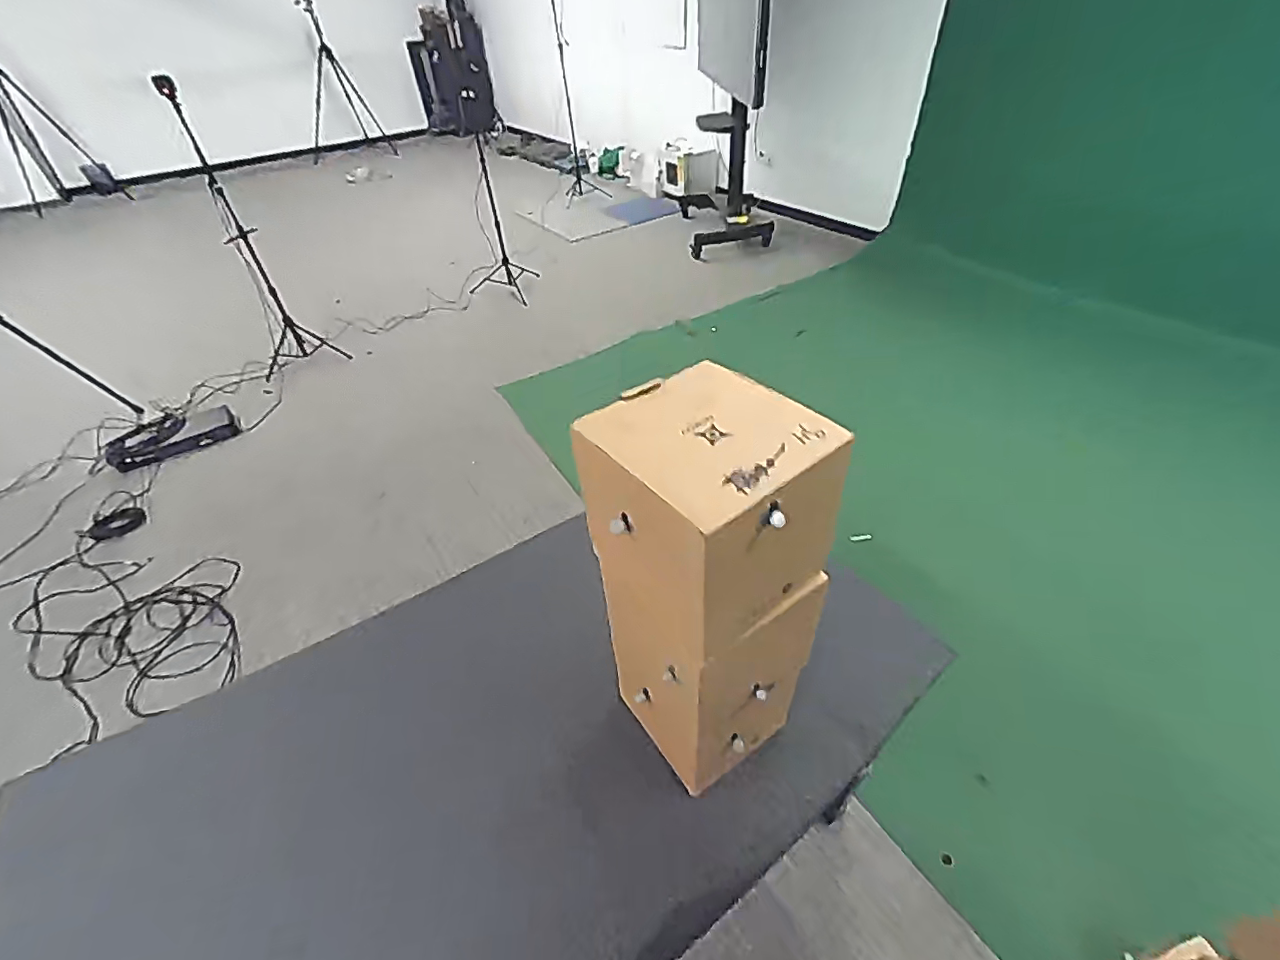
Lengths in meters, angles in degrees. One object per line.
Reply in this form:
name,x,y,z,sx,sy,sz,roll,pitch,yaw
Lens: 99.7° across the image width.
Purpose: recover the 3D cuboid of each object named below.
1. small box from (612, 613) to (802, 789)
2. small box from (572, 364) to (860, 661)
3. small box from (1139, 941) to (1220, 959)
small box,0.084,0.268,0.707,0.168,0.176,0.179,-27,45,-23
small box,0.061,0.024,0.488,0.168,0.176,0.179,-30,46,-25
small box,0.966,0.964,0.957,0.179,0.176,0.168,-14,44,-11
